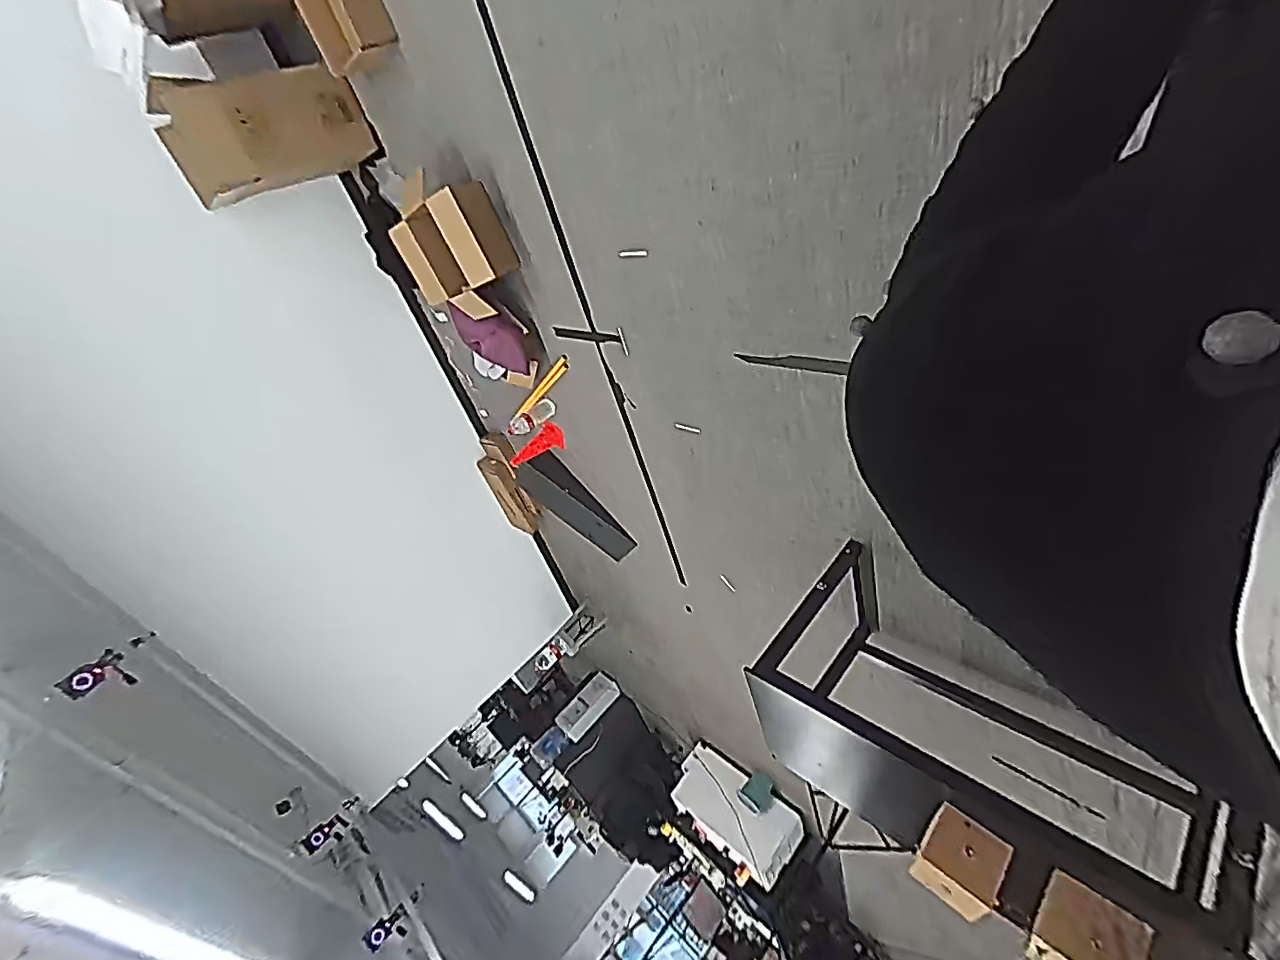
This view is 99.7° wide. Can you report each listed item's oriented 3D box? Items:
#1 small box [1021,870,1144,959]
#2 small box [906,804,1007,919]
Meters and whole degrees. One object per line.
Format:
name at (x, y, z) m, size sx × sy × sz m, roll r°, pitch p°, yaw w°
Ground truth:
small box at (1.011, 1.051, 1.238) m, size 0.179 × 0.176 × 0.168 m, roll 20°, pitch 141°, yaw 42°
small box at (0.834, 0.999, 1.426) m, size 0.168 × 0.176 × 0.179 m, roll 29°, pitch 146°, yaw 35°
